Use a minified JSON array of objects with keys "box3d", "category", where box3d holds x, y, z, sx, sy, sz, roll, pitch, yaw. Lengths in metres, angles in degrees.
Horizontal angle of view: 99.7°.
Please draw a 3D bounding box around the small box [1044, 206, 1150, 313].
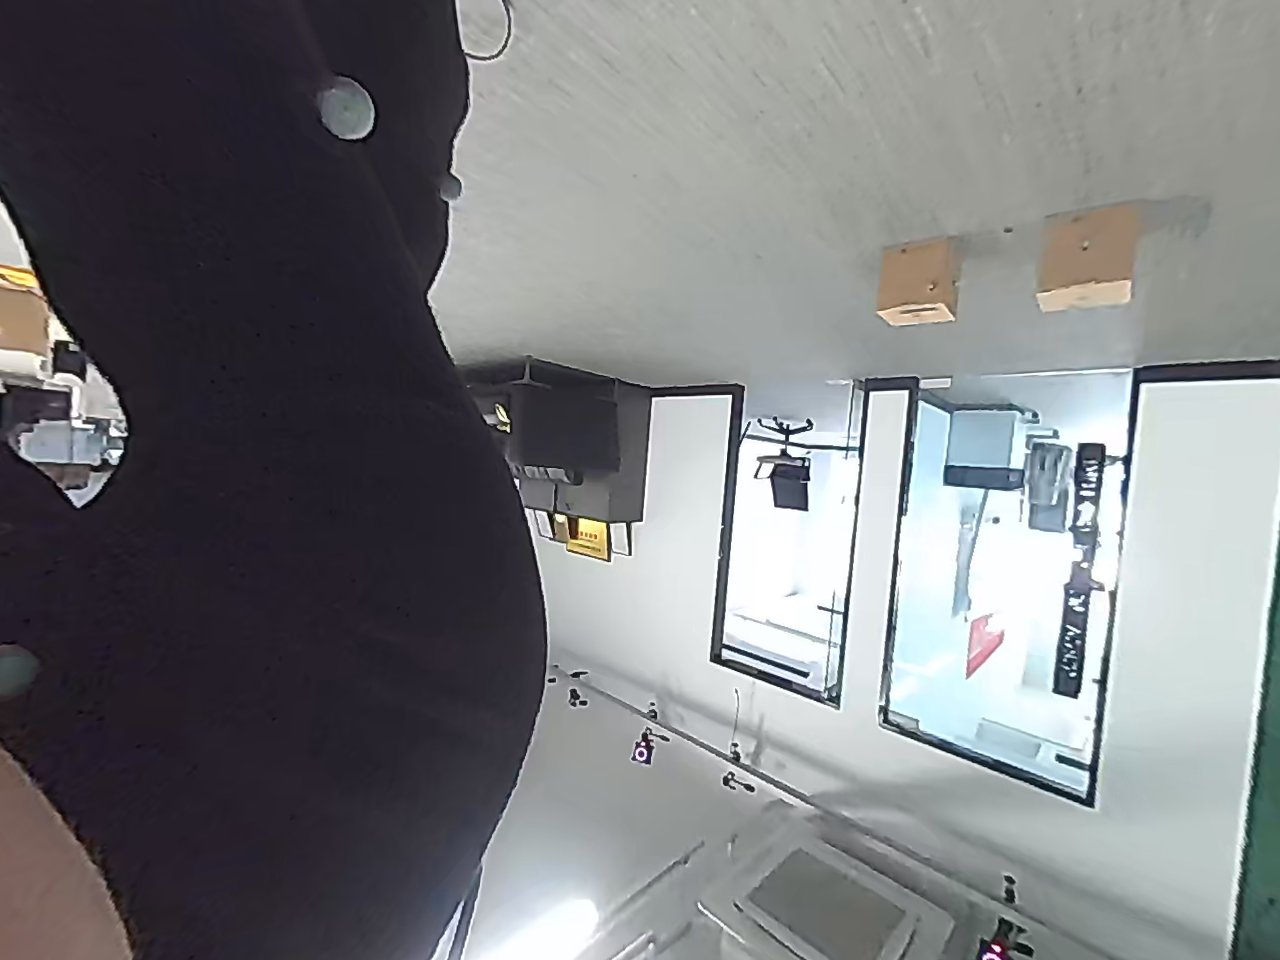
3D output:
[{"box3d":[1.015,-0.488,1.207,0.168,0.176,0.179,7,-178,41],"category":"small box"}]
